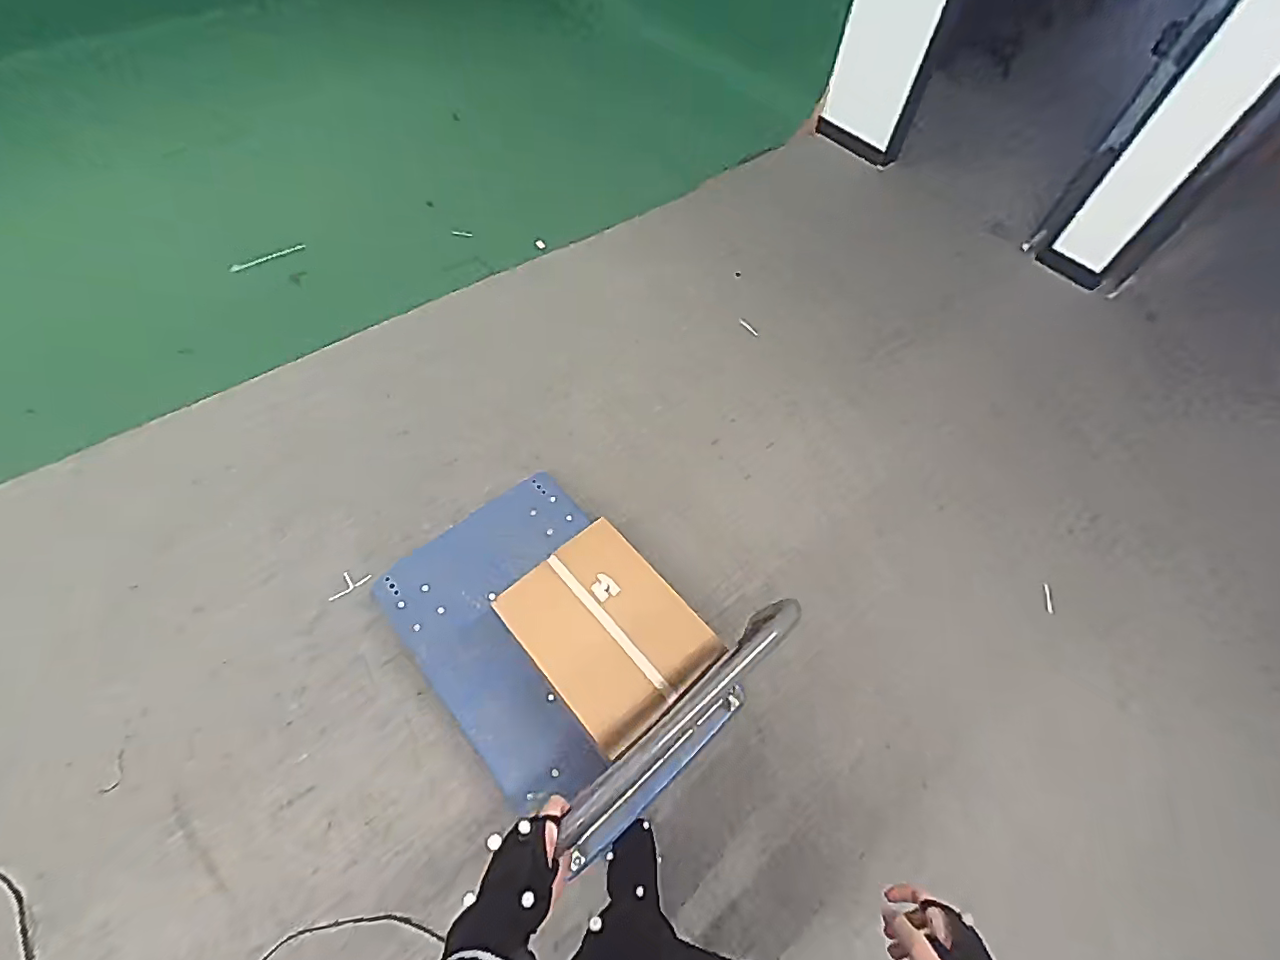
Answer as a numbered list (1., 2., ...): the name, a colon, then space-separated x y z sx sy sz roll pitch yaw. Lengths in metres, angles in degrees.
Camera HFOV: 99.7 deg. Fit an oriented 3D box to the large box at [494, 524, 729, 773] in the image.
1. large box: -0.065 0.386 1.236 0.320 0.320 0.408 -36 66 -23
